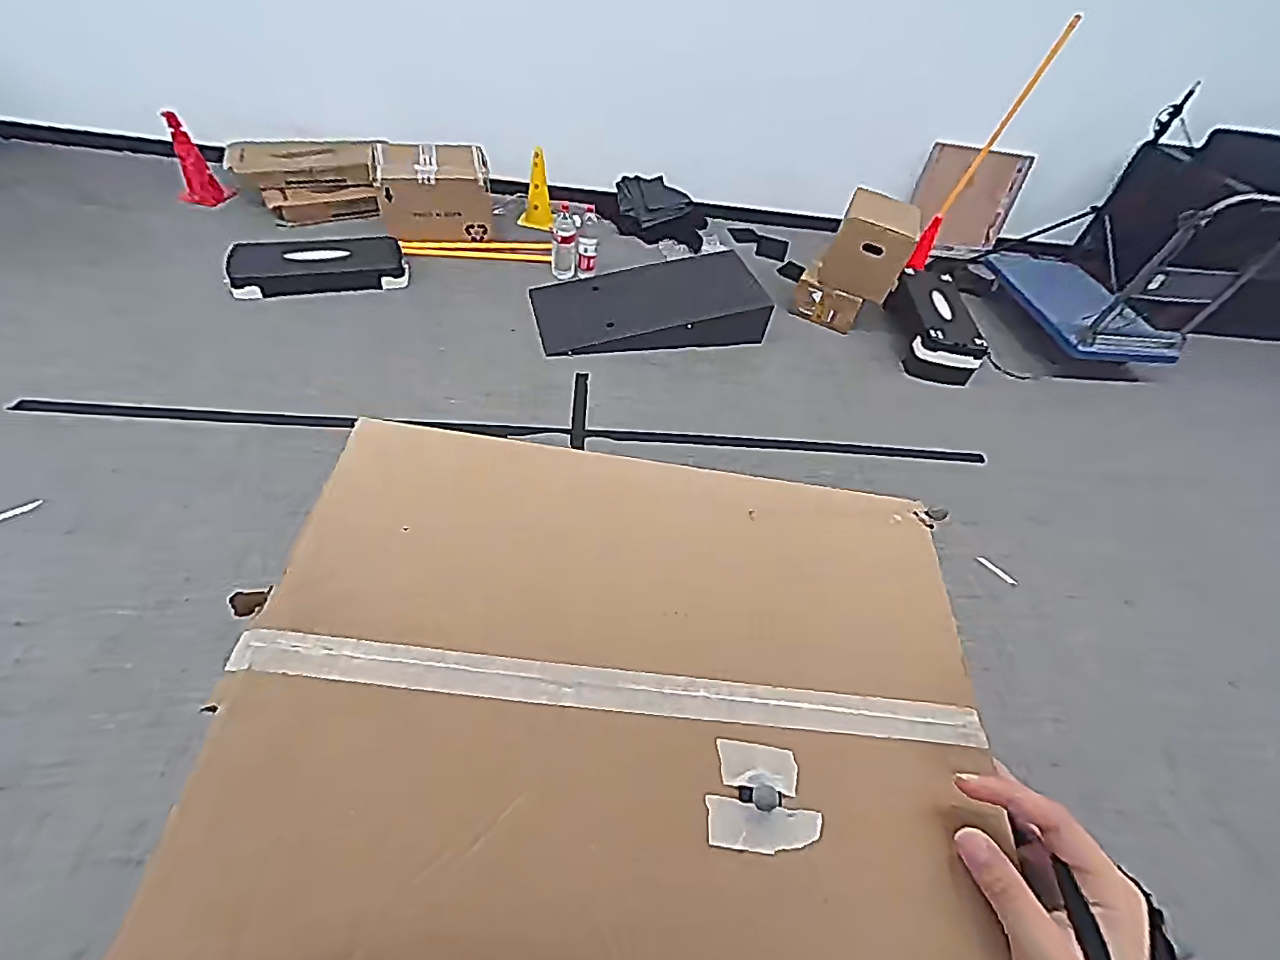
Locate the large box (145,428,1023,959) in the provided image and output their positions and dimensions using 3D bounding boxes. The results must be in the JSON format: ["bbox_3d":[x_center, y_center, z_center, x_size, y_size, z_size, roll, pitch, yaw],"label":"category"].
[{"bbox_3d":[-0.024,0.197,0.432,0.408,0.320,0.320,9,57,-6],"label":"large box"}]
